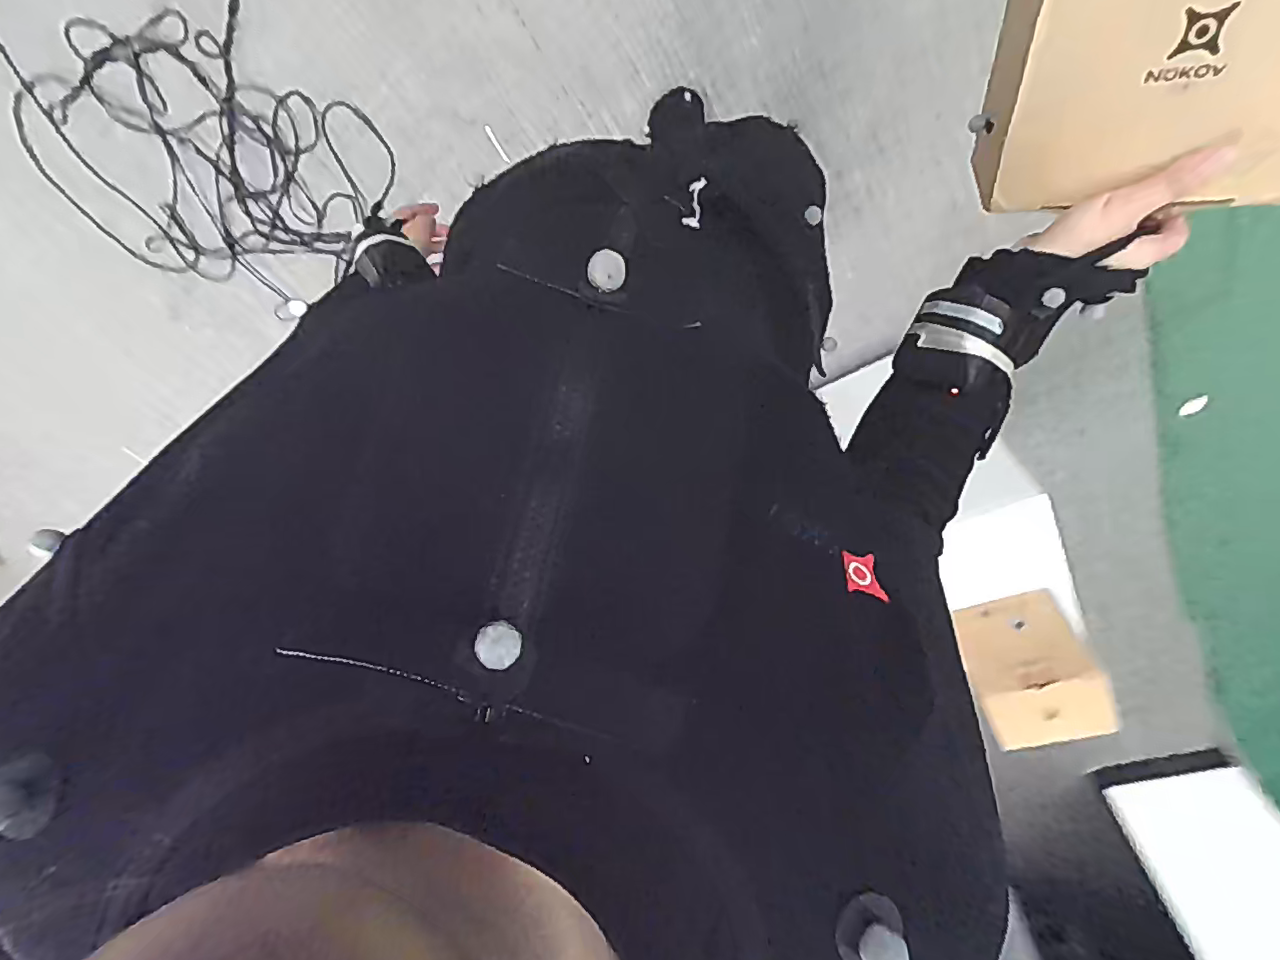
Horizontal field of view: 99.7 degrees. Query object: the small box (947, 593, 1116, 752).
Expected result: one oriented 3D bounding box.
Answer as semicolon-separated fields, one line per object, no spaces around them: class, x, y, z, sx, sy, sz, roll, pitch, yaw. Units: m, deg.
small box;0.645;0.321;0.904;0.168;0.176;0.179;-24;120;23
